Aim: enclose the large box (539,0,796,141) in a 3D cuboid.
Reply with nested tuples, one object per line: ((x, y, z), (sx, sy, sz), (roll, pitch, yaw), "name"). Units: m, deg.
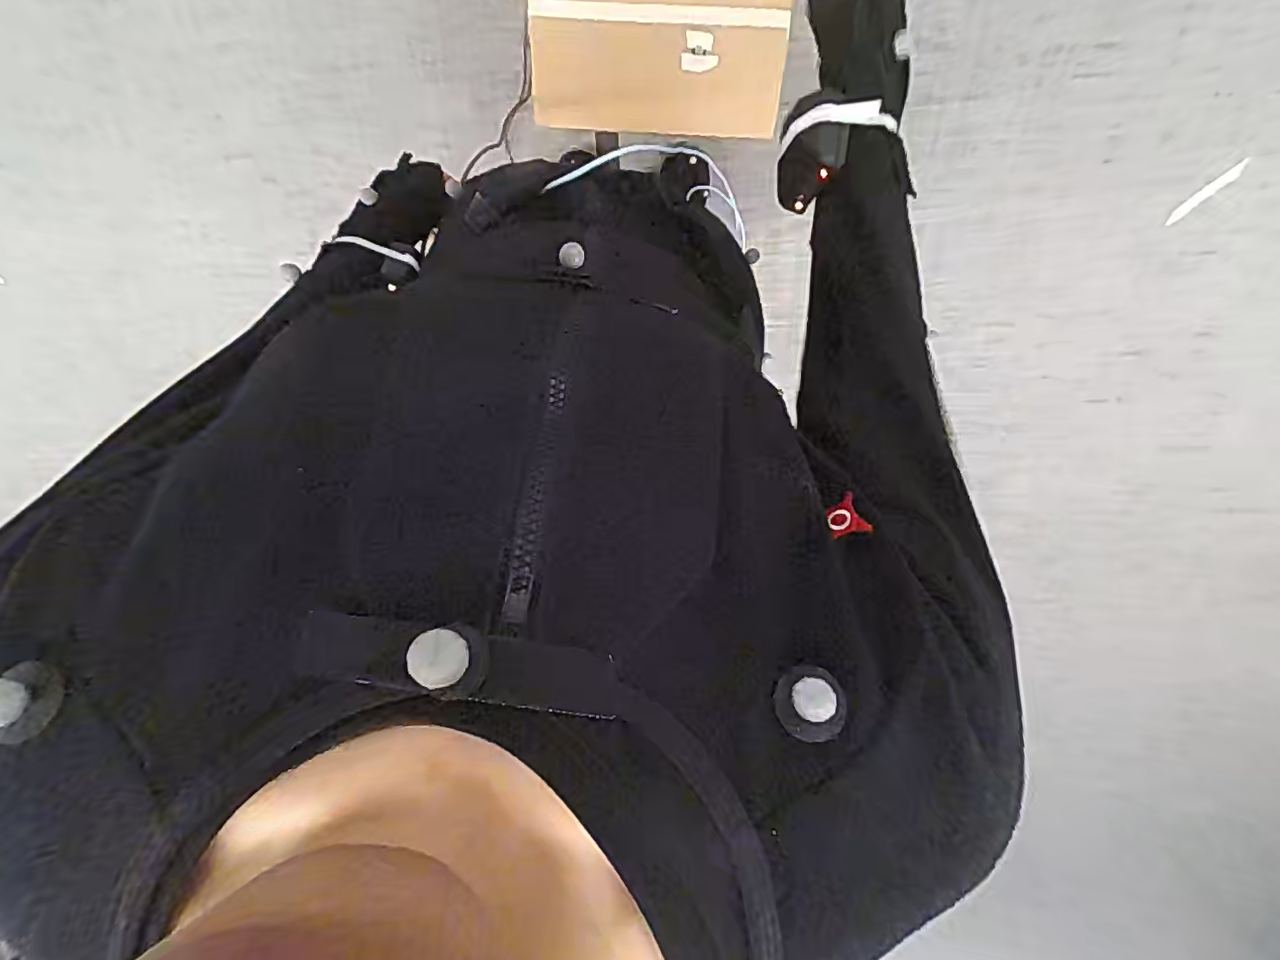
((0.041, -0.800, 0.966), (0.408, 0.320, 0.320), (3, 124, -1), "large box")
